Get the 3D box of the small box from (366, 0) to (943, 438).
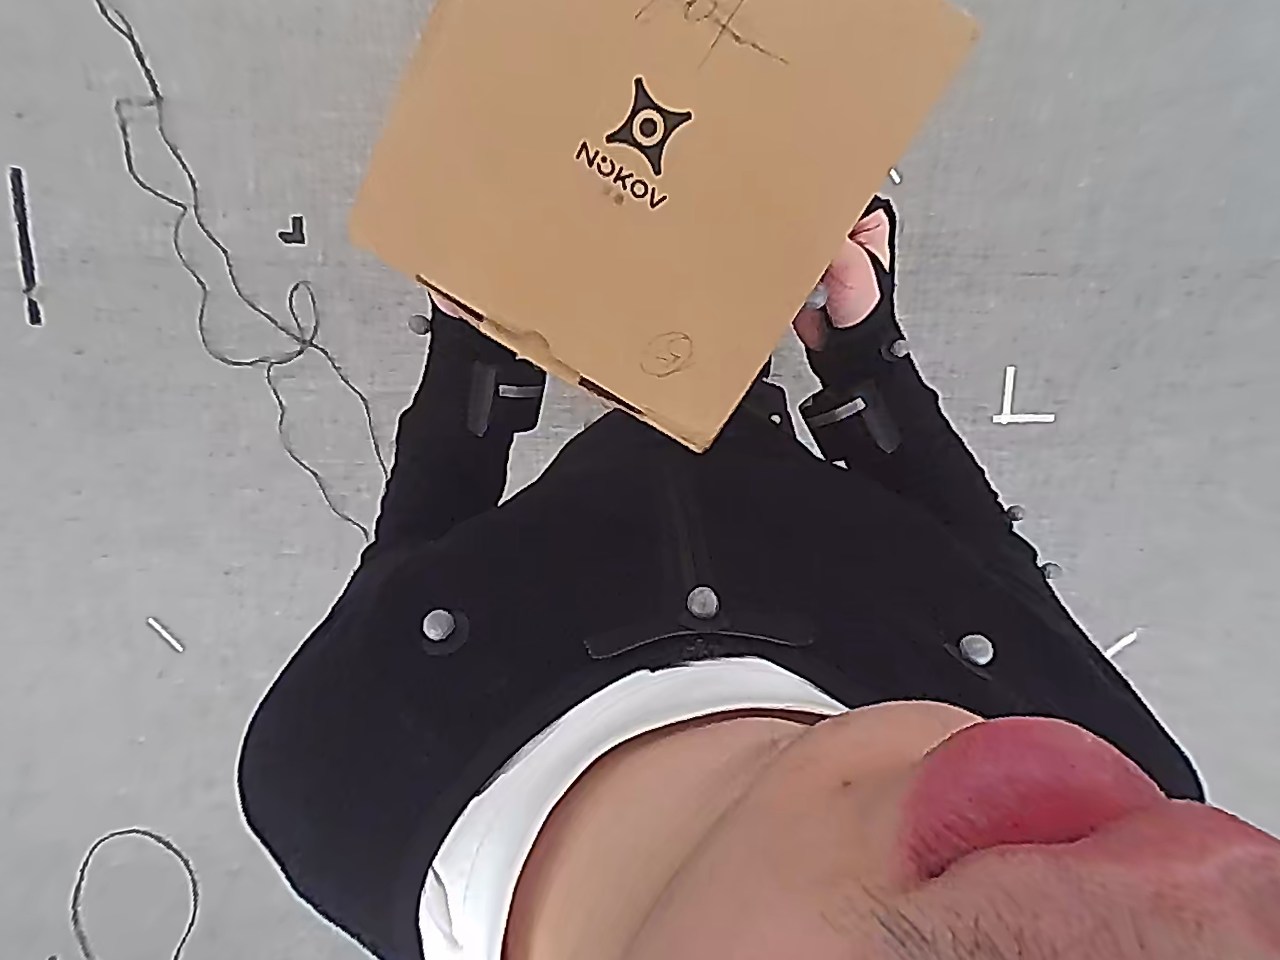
[{"bbox_3d":[0.002,-0.148,0.284,0.168,0.176,0.179,29,103,-6],"label":"small box"}]
